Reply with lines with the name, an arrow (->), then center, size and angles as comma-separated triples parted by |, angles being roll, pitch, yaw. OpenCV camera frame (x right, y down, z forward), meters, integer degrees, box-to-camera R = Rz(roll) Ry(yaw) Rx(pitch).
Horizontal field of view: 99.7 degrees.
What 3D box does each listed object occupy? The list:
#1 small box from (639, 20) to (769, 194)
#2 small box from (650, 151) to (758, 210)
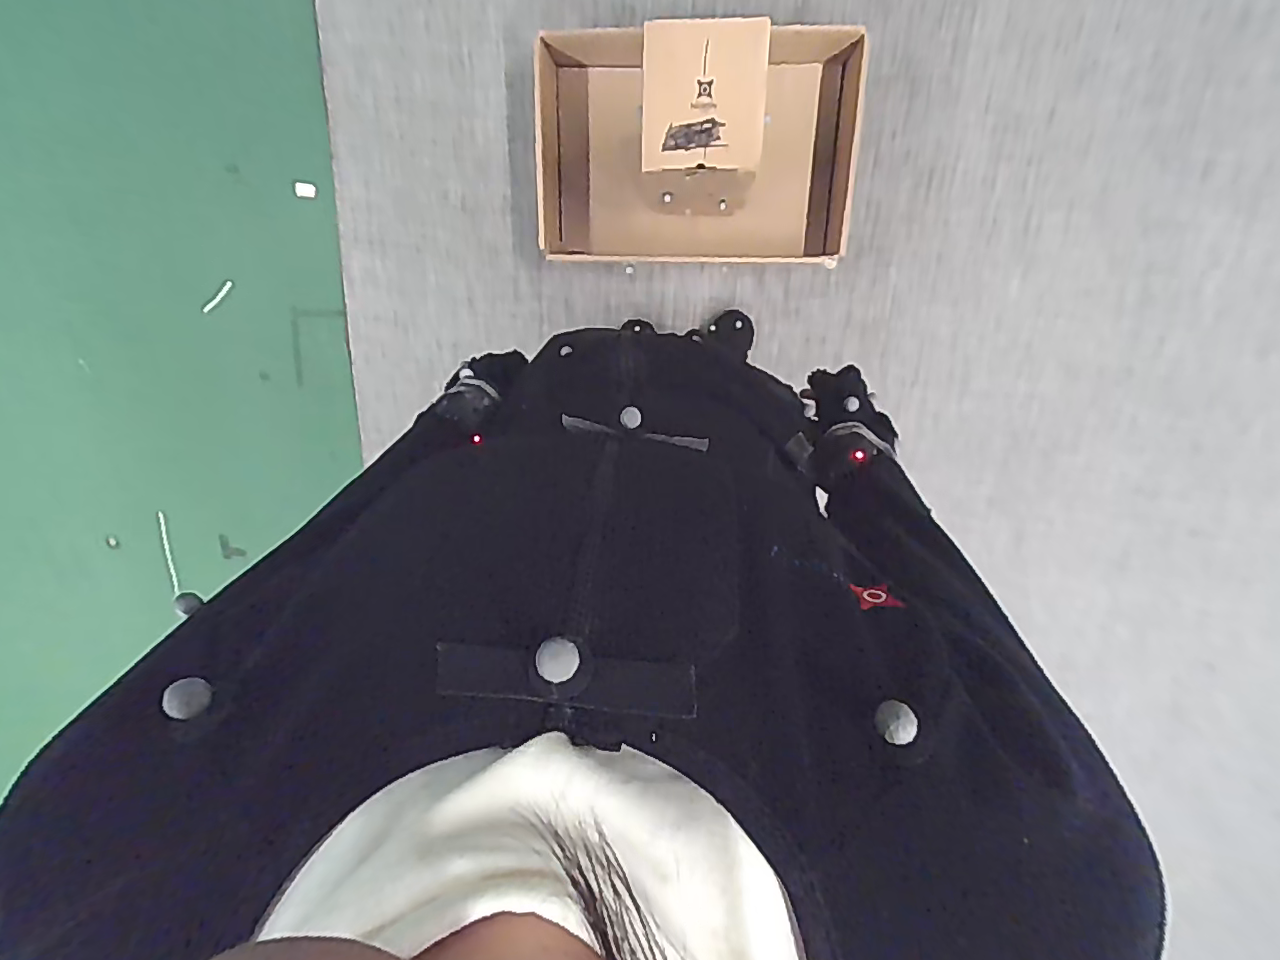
small box -> 0.090, -0.533, 0.799 | 0.168, 0.176, 0.179 | 3, 106, 4
small box -> 0.107, -0.577, 0.940 | 0.179, 0.176, 0.168 | -1, 107, 5
